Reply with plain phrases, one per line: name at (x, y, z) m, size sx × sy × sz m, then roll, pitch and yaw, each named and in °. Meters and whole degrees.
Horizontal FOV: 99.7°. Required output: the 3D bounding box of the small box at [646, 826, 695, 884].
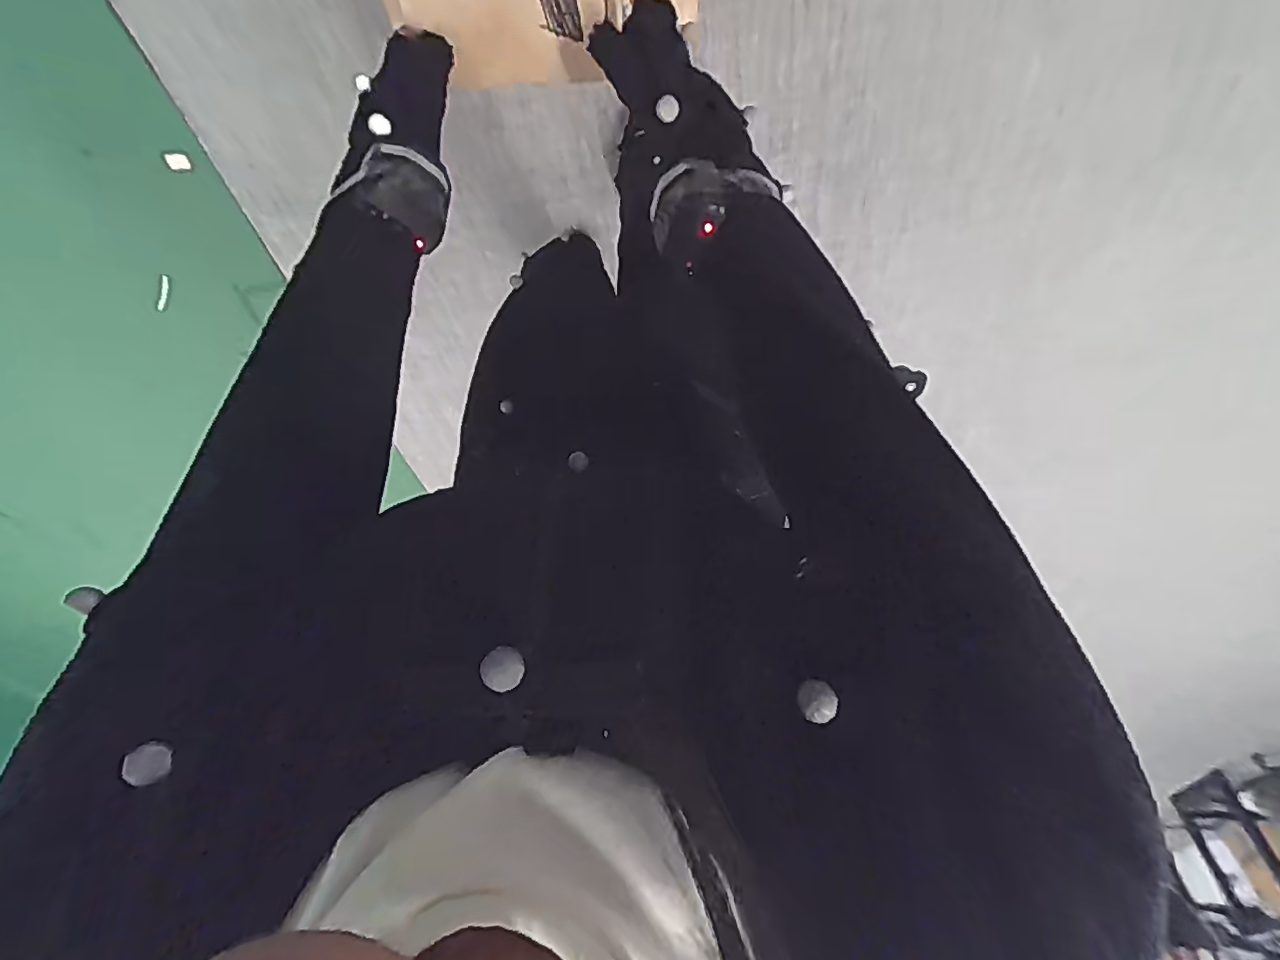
small box at (0.125, 1.504, 2.171) m, size 0.179 × 0.176 × 0.168 m, roll -4°, pitch 135°, yaw 10°
